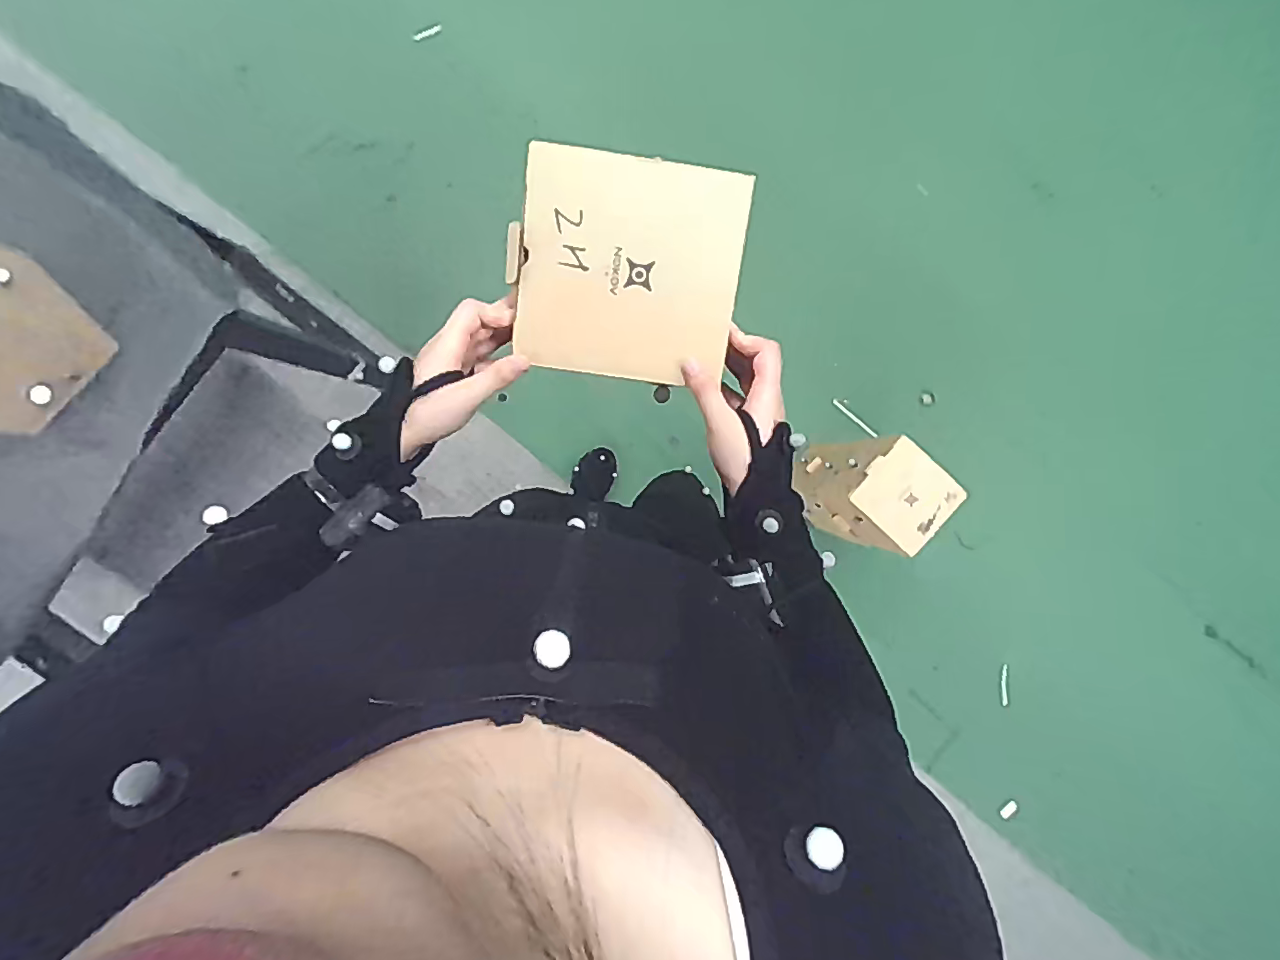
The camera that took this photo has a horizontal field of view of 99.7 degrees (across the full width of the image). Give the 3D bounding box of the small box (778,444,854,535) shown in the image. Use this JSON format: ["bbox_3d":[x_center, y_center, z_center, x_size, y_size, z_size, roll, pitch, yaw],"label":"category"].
[{"bbox_3d":[0.498,0.017,1.426,0.179,0.176,0.168,44,91,-3],"label":"small box"}]

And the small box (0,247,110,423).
[{"bbox_3d":[-0.799,-0.180,0.623,0.168,0.176,0.179,-45,92,1],"label":"small box"}]

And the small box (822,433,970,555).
[{"bbox_3d":[0.505,0.026,1.098,0.179,0.176,0.168,42,90,-3],"label":"small box"}]

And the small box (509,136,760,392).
[{"bbox_3d":[-0.009,-0.178,0.491,0.179,0.176,0.168,7,102,-3],"label":"small box"}]
